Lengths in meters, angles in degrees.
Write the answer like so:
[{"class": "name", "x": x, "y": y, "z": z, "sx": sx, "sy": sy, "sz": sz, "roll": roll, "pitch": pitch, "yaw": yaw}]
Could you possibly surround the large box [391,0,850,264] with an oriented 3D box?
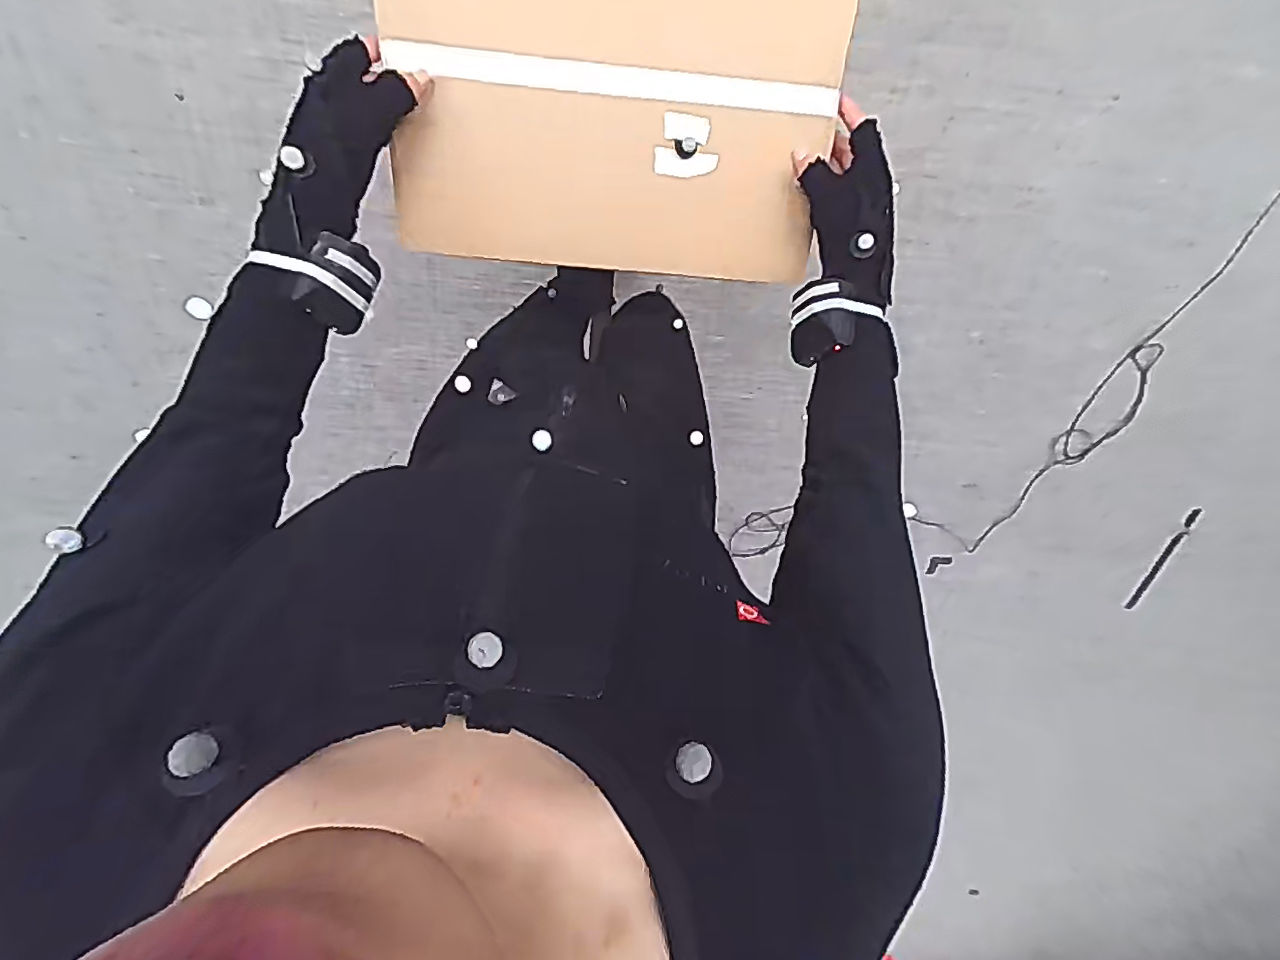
[{"class": "large box", "x": -0.026, "y": -0.434, "z": 0.621, "sx": 0.408, "sy": 0.320, "sz": 0.320, "roll": 2, "pitch": 117, "yaw": -5}]
